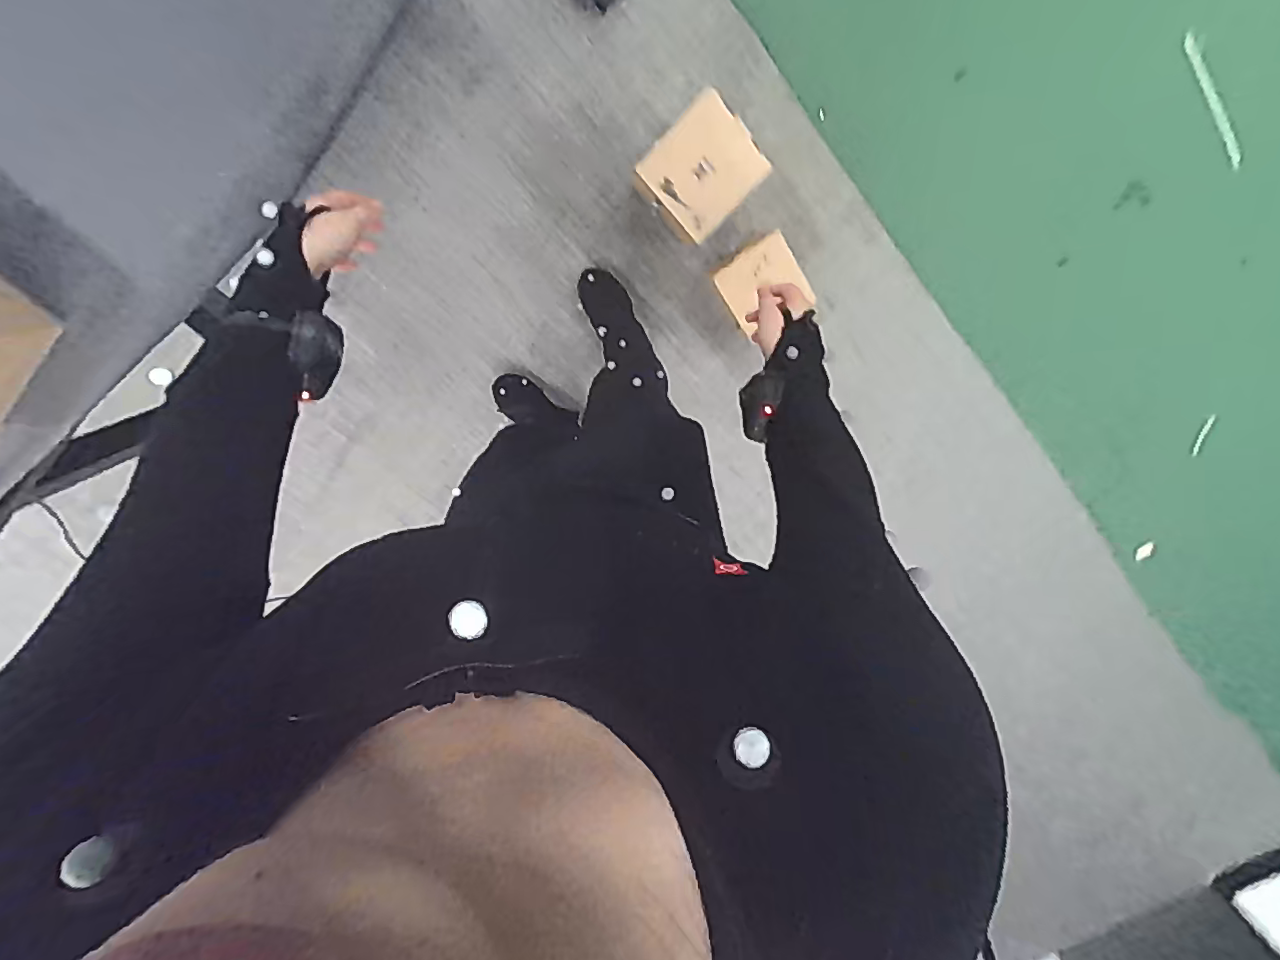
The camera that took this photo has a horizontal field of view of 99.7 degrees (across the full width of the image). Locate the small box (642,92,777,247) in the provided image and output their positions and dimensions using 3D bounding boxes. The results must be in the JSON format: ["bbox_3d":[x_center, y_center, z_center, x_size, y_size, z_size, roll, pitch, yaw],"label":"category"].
[{"bbox_3d":[0.117,-0.556,0.991,0.179,0.176,0.168,-40,109,15],"label":"small box"}]
